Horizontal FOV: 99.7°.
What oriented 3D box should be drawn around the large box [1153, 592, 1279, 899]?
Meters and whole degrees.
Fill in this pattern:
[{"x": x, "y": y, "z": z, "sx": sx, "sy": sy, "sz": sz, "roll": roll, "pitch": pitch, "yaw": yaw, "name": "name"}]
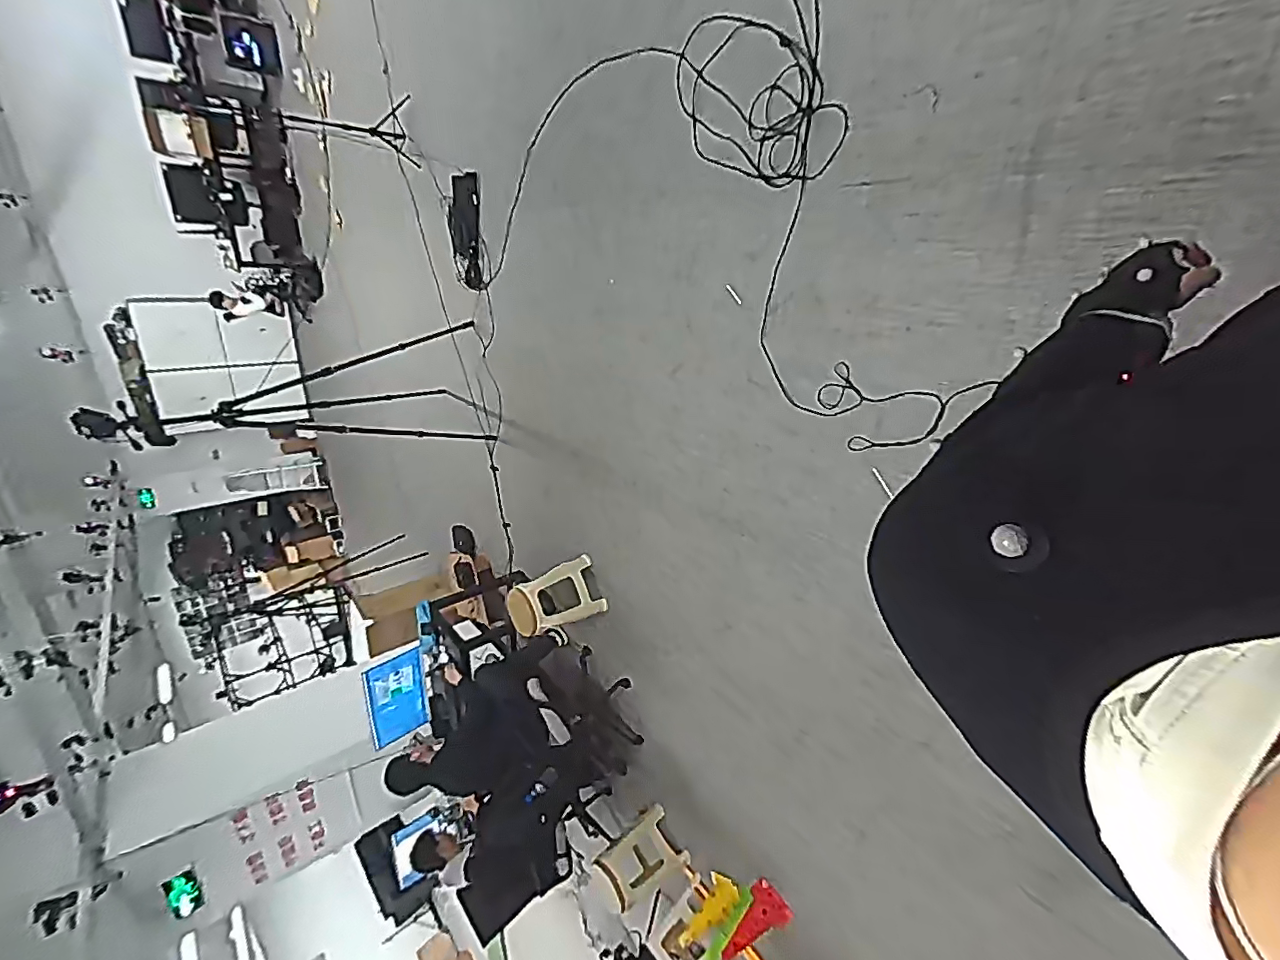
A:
[{"x": 1.170, "y": 0.469, "z": 0.906, "sx": 0.320, "sy": 0.320, "sz": 0.408, "roll": 31, "pitch": 126, "yaw": 40, "name": "large box"}]
